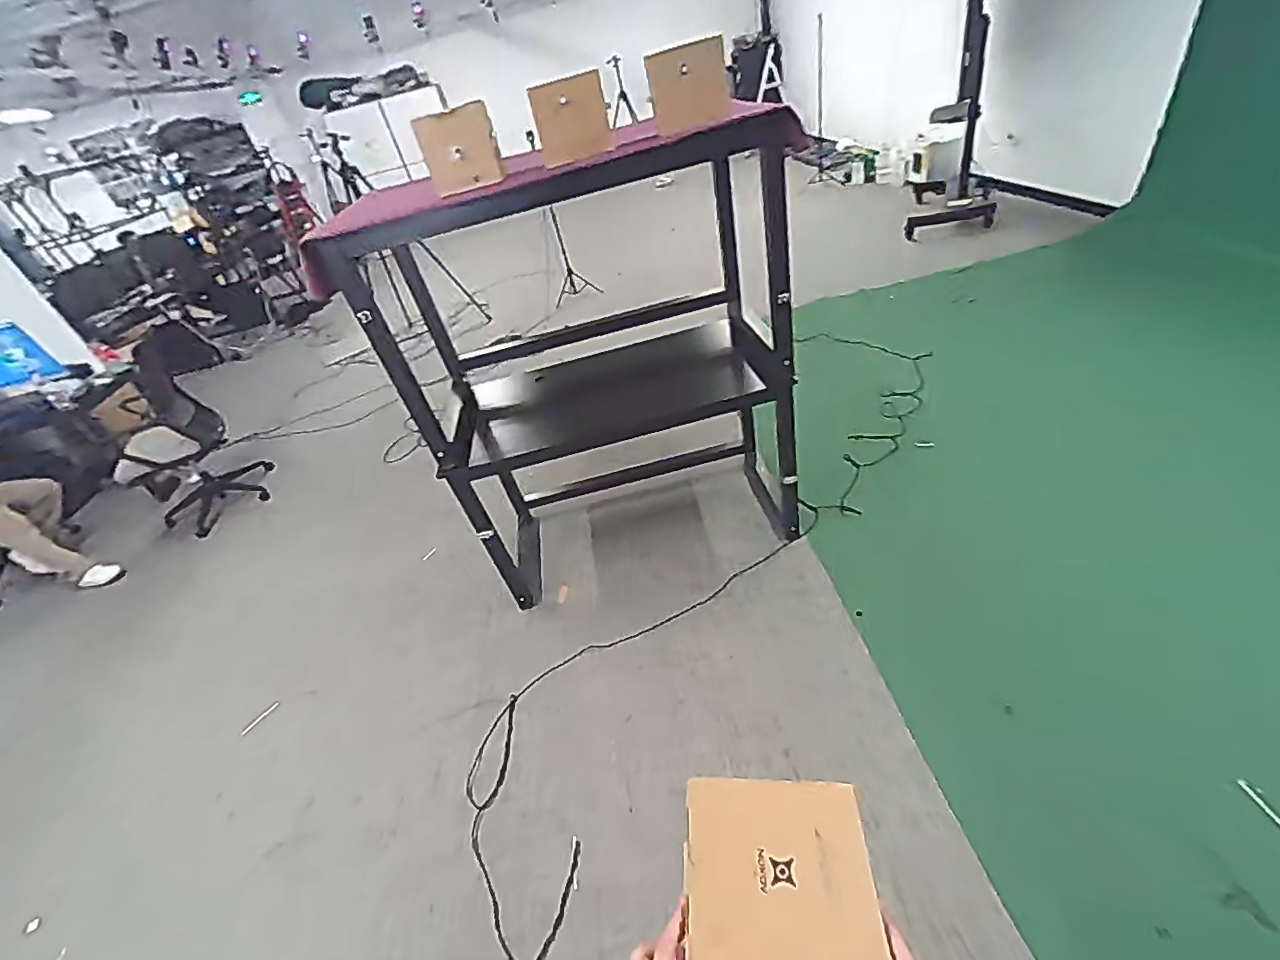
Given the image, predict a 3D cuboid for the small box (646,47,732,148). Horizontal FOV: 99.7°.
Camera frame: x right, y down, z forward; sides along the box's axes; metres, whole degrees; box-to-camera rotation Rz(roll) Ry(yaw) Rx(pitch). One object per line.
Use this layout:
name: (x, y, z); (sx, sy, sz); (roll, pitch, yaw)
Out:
small box: (0.121, -0.945, 1.340); (0.179, 0.176, 0.168); (-12, 38, 5)

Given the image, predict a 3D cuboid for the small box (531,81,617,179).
small box: (-0.158, -0.876, 1.354); (0.179, 0.176, 0.168); (-15, 35, 2)

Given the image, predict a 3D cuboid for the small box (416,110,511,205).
small box: (-0.433, -0.808, 1.359); (0.168, 0.176, 0.179); (-14, 36, 1)
